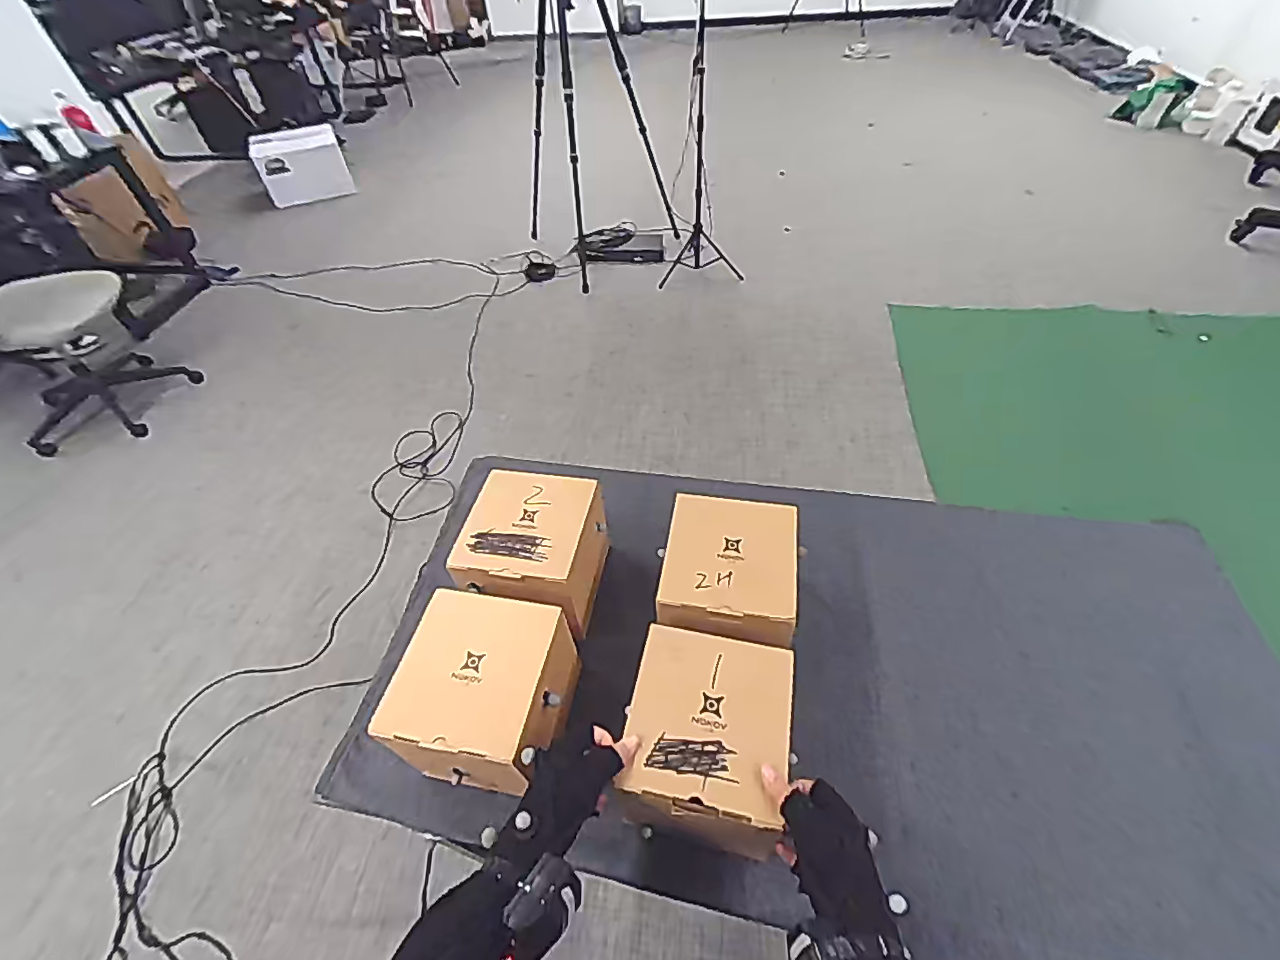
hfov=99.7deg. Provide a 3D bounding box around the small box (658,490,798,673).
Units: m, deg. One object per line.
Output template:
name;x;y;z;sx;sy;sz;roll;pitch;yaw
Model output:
small box;0.120;0.141;0.752;0.168;0.176;0.179;7;49;10
